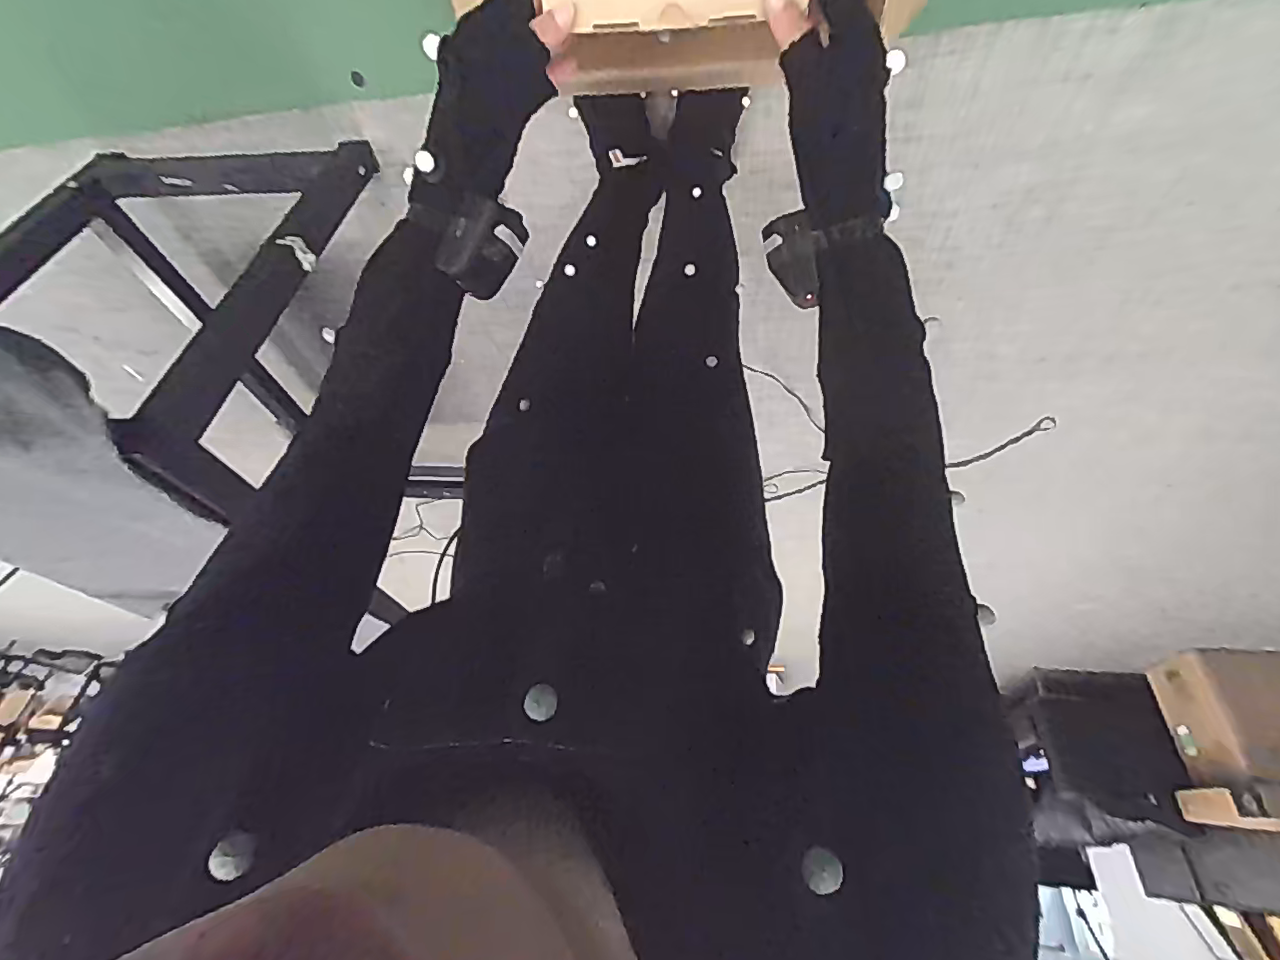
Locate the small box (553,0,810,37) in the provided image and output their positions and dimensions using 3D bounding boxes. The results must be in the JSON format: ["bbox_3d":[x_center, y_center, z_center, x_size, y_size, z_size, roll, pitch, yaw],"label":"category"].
[{"bbox_3d":[0.029,-0.409,0.352,0.168,0.176,0.179,2,133,6],"label":"small box"}]
